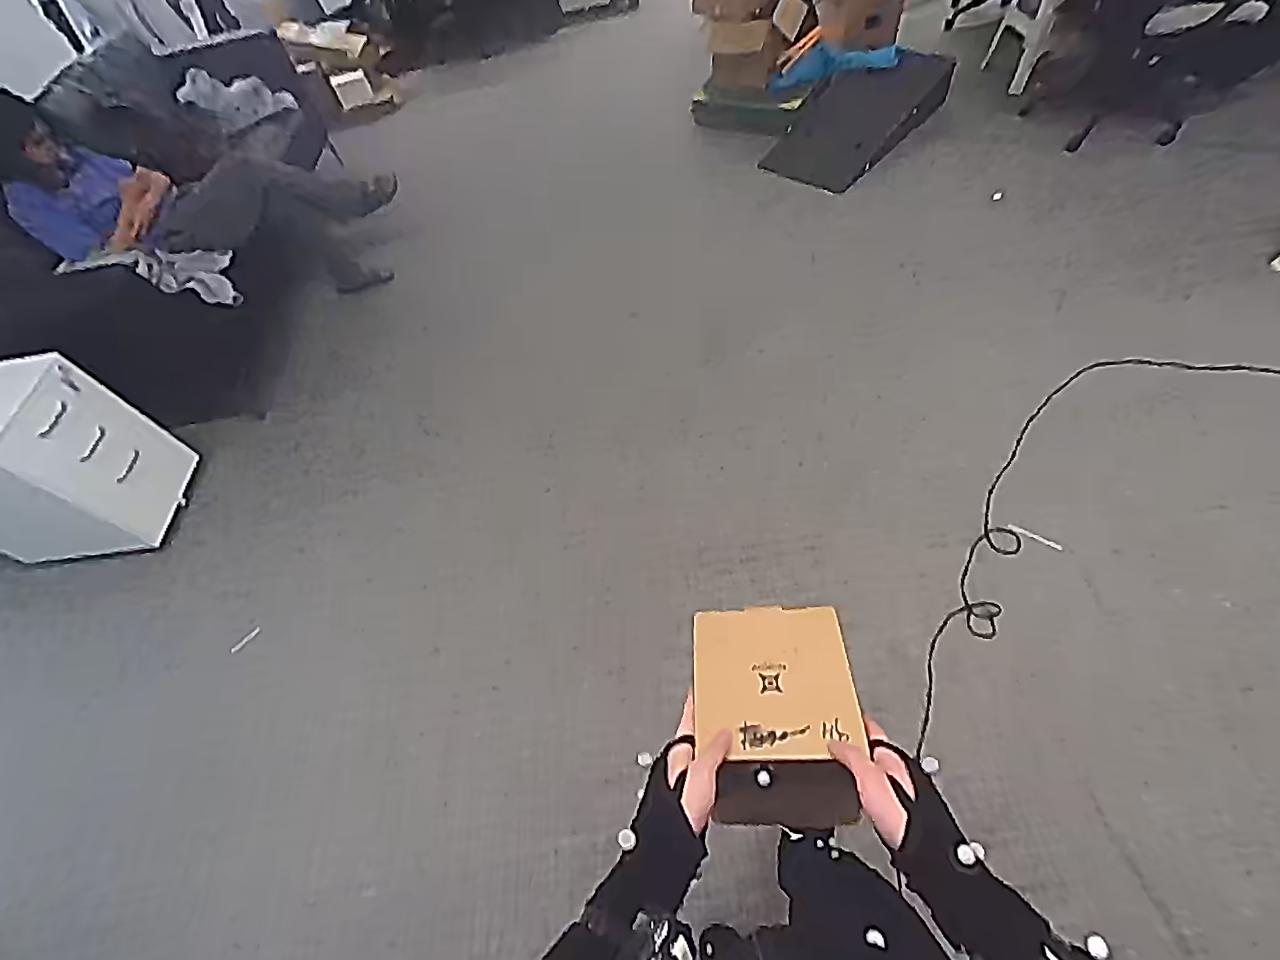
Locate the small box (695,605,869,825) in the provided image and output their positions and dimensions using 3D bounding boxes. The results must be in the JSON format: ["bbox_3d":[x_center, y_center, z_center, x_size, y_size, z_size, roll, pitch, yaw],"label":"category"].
[{"bbox_3d":[0.156,0.269,0.629,0.168,0.176,0.179,-6,38,11],"label":"small box"}]
